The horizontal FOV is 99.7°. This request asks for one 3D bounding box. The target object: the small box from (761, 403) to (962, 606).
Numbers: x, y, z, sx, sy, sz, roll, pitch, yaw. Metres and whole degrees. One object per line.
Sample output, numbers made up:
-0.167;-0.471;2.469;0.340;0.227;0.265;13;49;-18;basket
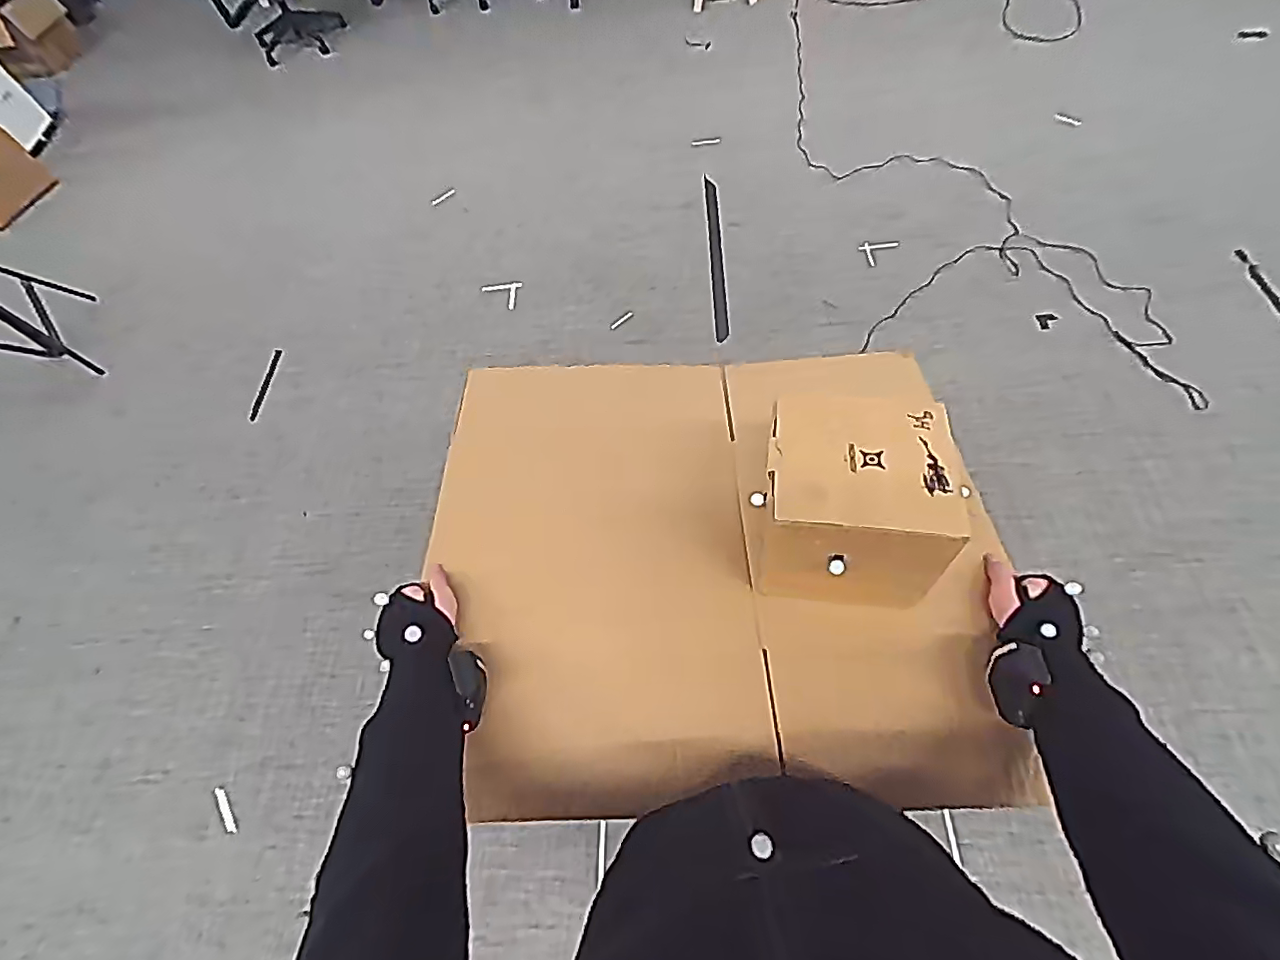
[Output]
0.231;0.031;0.613;0.179;0.176;0.168;4;56;11;small box
